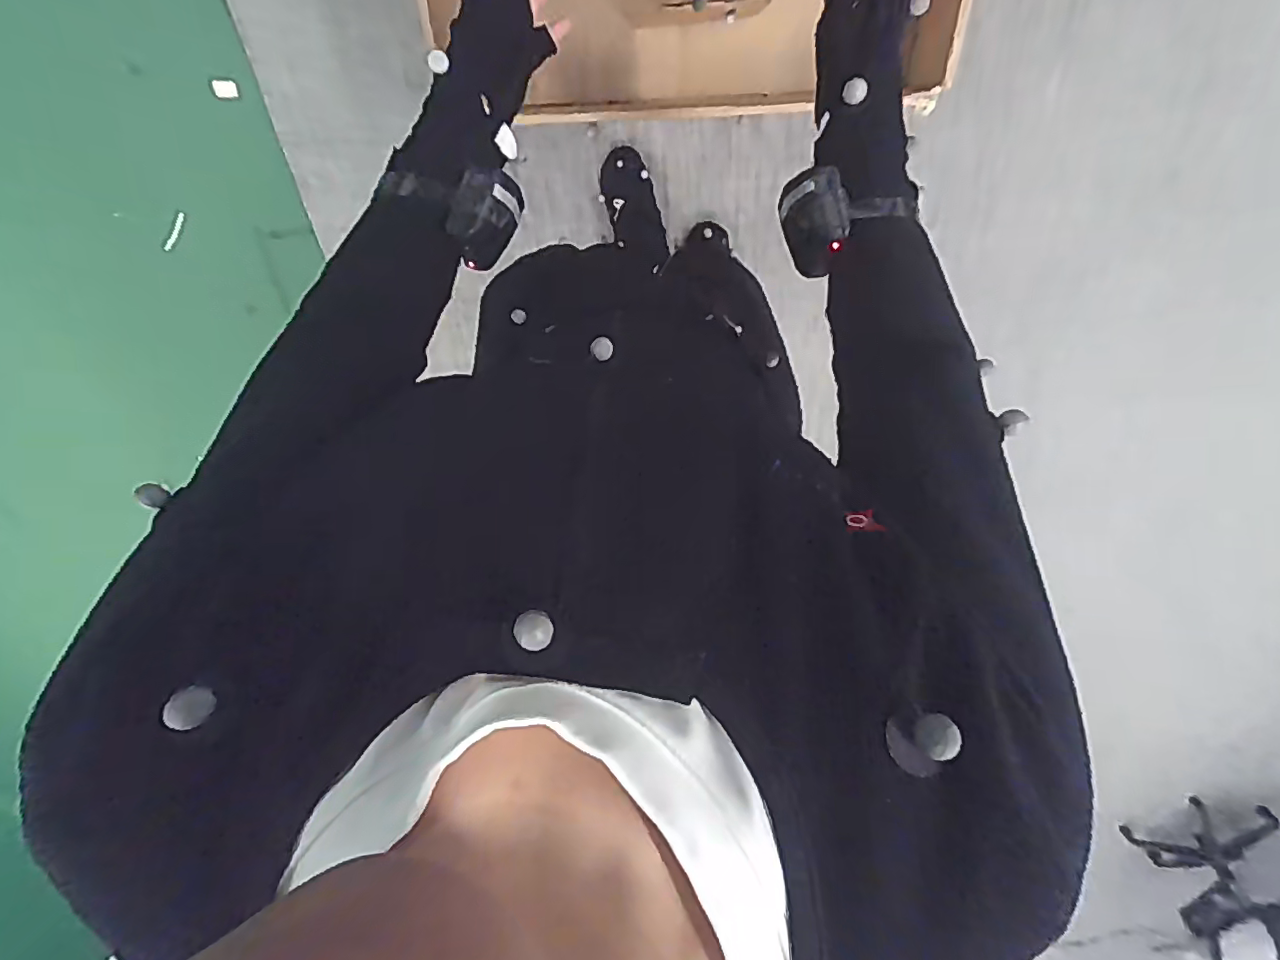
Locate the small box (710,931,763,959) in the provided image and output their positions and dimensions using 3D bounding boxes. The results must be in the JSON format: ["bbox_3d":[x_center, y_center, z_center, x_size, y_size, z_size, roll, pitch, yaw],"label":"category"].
[{"bbox_3d":[0.335,1.671,1.847,0.179,0.176,0.168,-5,125,8],"label":"small box"}]

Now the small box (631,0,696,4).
[{"bbox_3d":[0.055,-0.538,0.470,0.168,0.176,0.179,-3,126,4],"label":"small box"}]

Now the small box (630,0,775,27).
[{"bbox_3d":[0.069,-0.631,0.605,0.168,0.176,0.179,-3,123,4],"label":"small box"}]
